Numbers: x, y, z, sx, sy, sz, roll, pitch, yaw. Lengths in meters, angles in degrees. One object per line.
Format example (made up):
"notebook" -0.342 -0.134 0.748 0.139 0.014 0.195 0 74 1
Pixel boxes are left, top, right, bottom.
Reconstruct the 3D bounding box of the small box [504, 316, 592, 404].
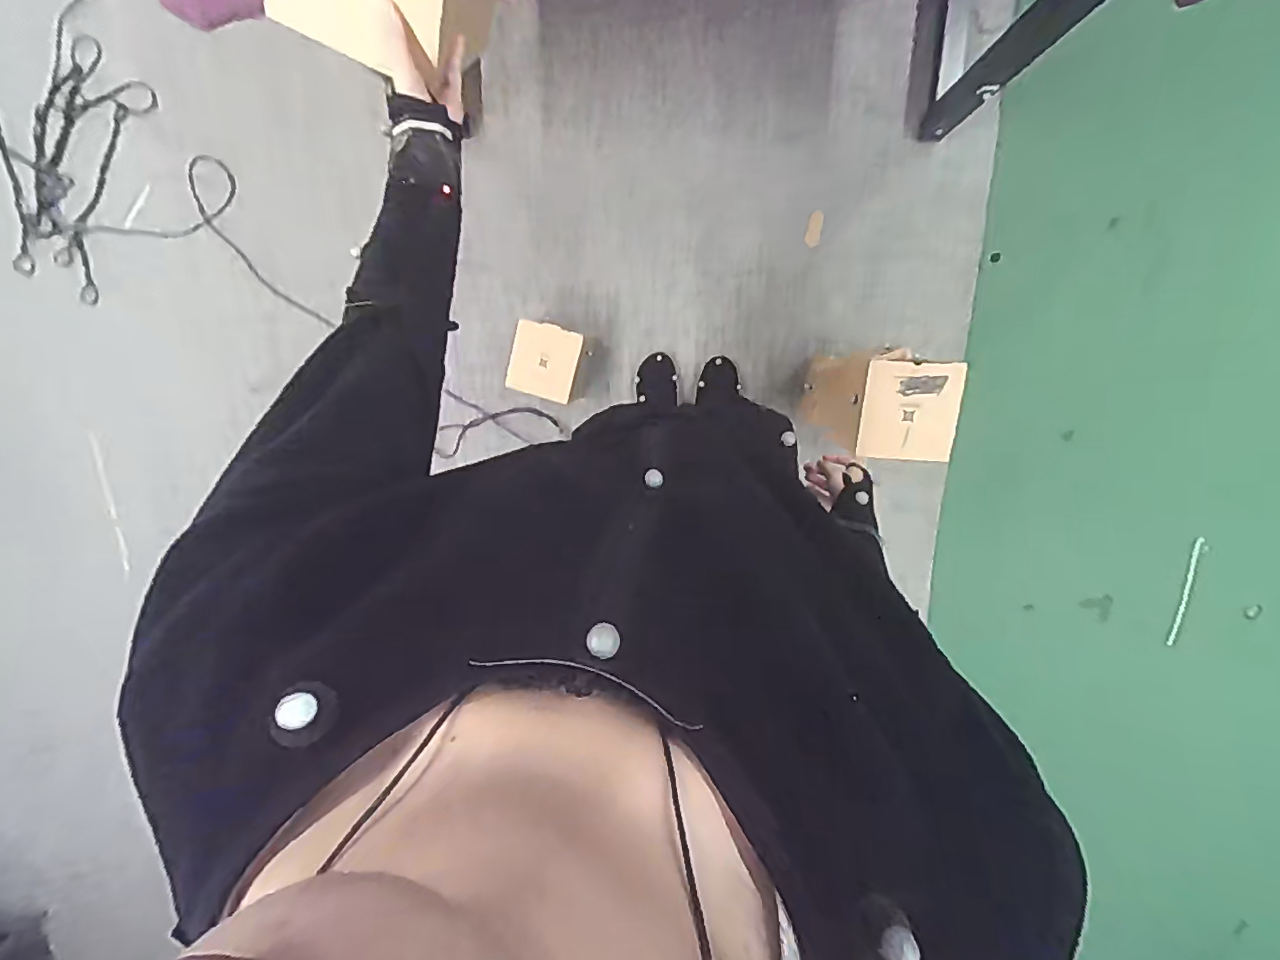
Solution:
"small box" -0.229 -0.311 1.389 0.168 0.176 0.179 17 106 2

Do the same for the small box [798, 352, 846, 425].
"small box" 0.506 -0.220 1.341 0.179 0.176 0.168 12 105 3

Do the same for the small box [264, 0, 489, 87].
"small box" -0.241 -0.533 0.518 0.168 0.176 0.179 19 140 -12

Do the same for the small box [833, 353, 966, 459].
"small box" 0.476 -0.147 1.022 0.168 0.176 0.179 4 106 4
